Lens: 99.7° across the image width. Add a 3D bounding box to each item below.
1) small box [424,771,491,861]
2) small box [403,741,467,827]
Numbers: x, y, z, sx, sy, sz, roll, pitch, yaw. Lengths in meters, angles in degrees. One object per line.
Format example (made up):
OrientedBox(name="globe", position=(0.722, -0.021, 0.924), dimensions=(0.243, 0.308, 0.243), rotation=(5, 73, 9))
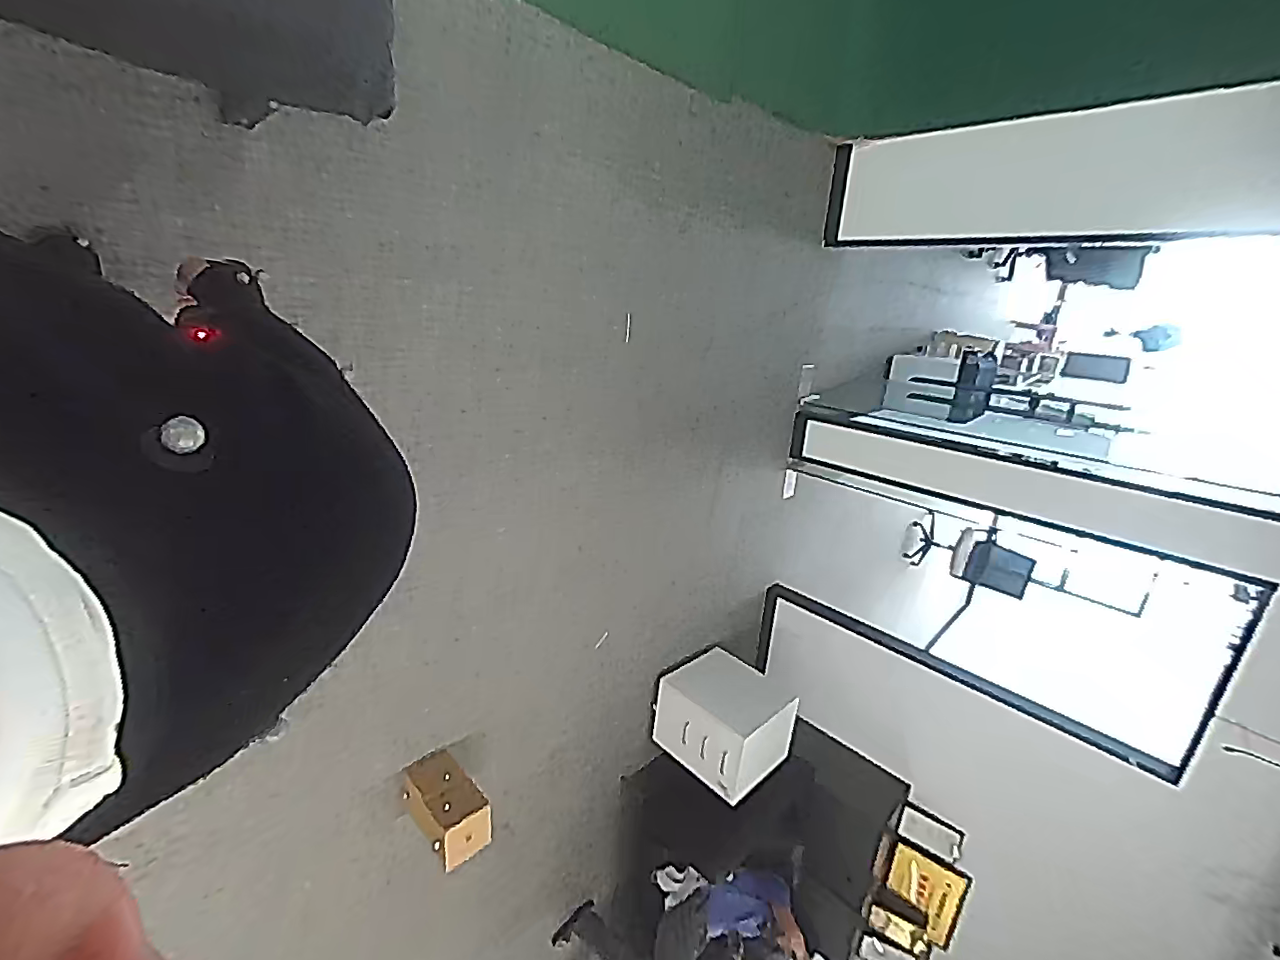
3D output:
OrientedBox(name="small box", position=(-0.633, 1.147, 1.870), dimensions=(0.168, 0.176, 0.179), rotation=(-15, 118, -43))
OrientedBox(name="small box", position=(-0.749, 1.102, 1.974), dimensions=(0.168, 0.176, 0.179), rotation=(-13, 116, -44))
